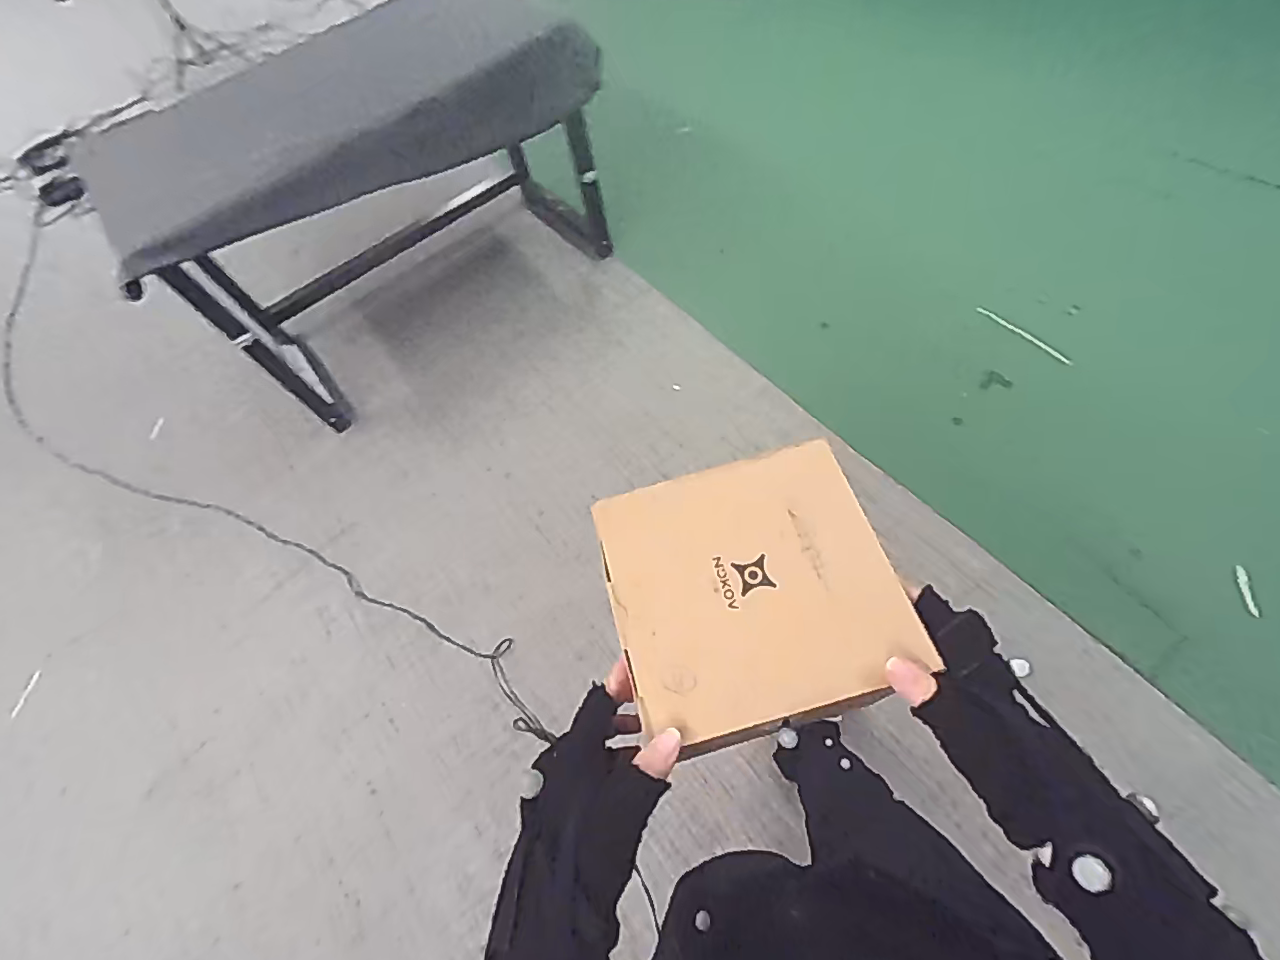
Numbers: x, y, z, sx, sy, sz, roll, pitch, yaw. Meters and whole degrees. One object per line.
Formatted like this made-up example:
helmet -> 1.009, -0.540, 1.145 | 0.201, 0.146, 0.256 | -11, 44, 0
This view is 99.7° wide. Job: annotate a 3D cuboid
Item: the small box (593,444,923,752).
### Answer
small box -> 0.077, 0.103, 0.429 | 0.179, 0.176, 0.168 | -17, 60, -4
